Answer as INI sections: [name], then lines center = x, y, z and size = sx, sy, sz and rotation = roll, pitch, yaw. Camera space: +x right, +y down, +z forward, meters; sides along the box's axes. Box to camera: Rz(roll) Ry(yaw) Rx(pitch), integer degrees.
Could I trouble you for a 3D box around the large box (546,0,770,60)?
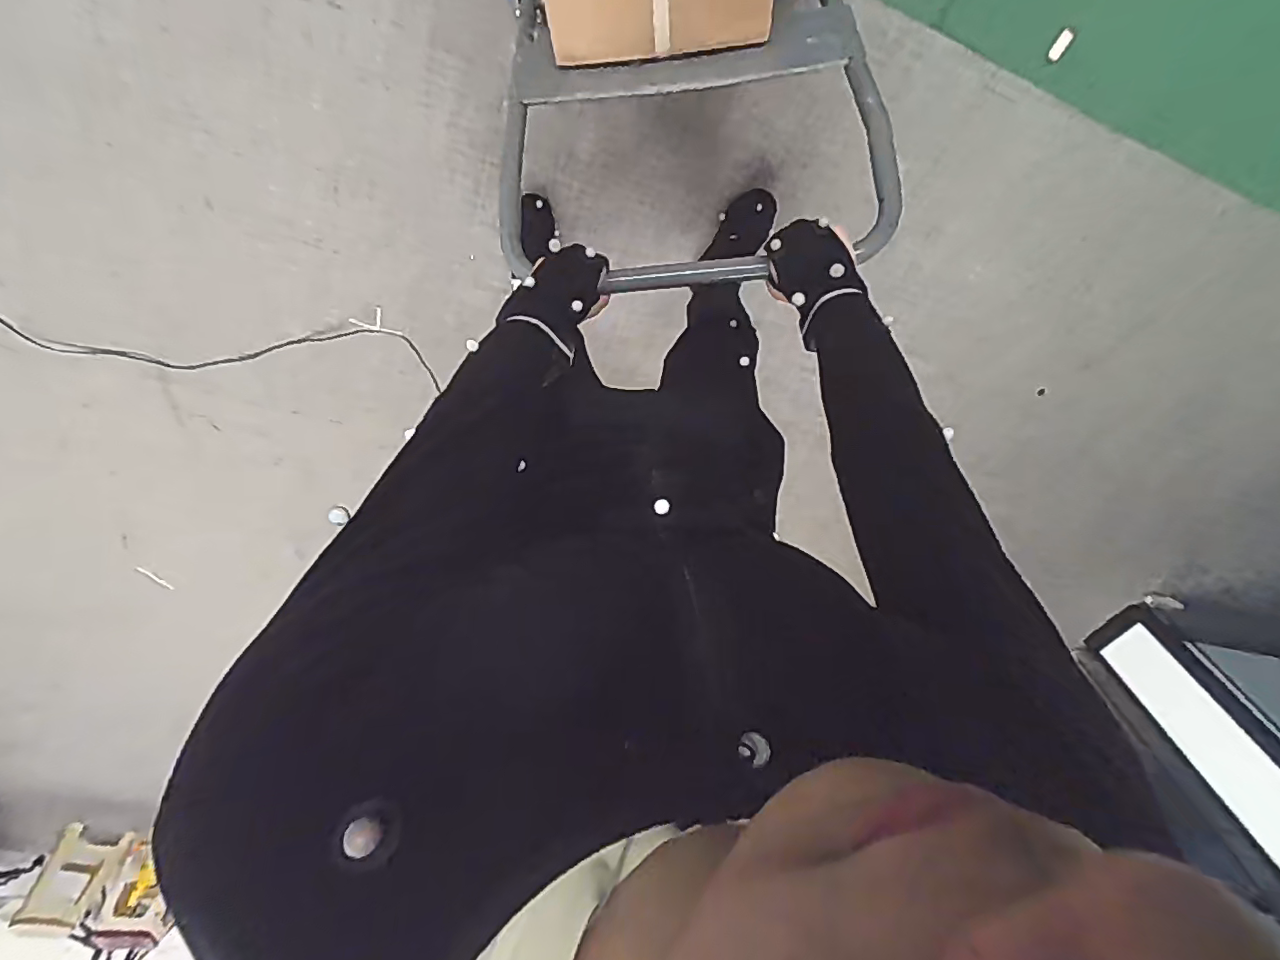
[large box]
center = 0.008, -0.868, 0.708
size = 0.320, 0.320, 0.408
rotation = -4, 149, 5
